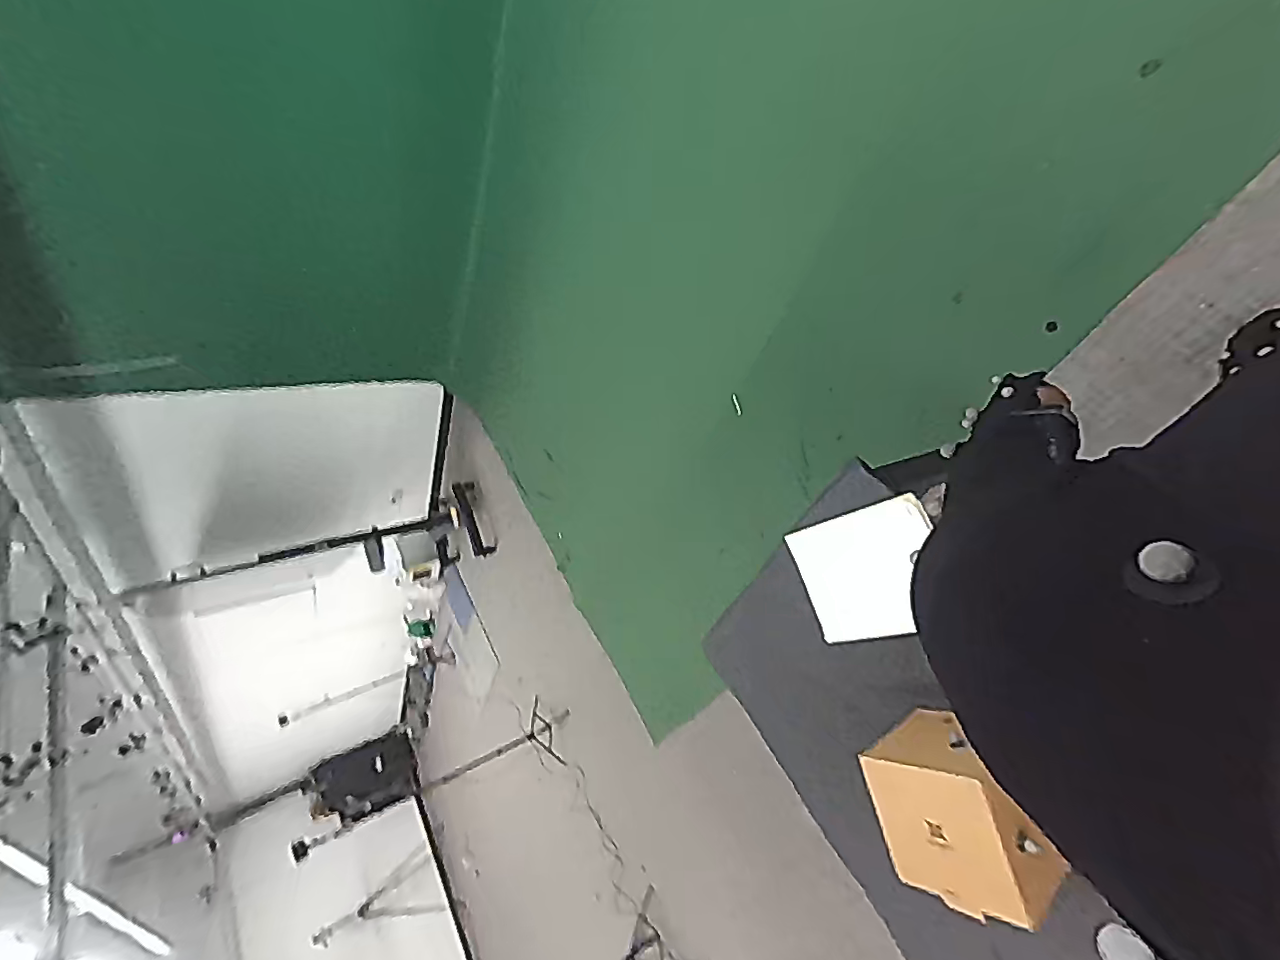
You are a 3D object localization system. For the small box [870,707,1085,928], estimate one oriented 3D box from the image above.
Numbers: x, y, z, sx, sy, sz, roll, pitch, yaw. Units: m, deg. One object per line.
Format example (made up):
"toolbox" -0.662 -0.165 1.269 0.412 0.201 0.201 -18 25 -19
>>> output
"small box" 0.449 0.425 0.723 0.168 0.176 0.179 -26 80 53
